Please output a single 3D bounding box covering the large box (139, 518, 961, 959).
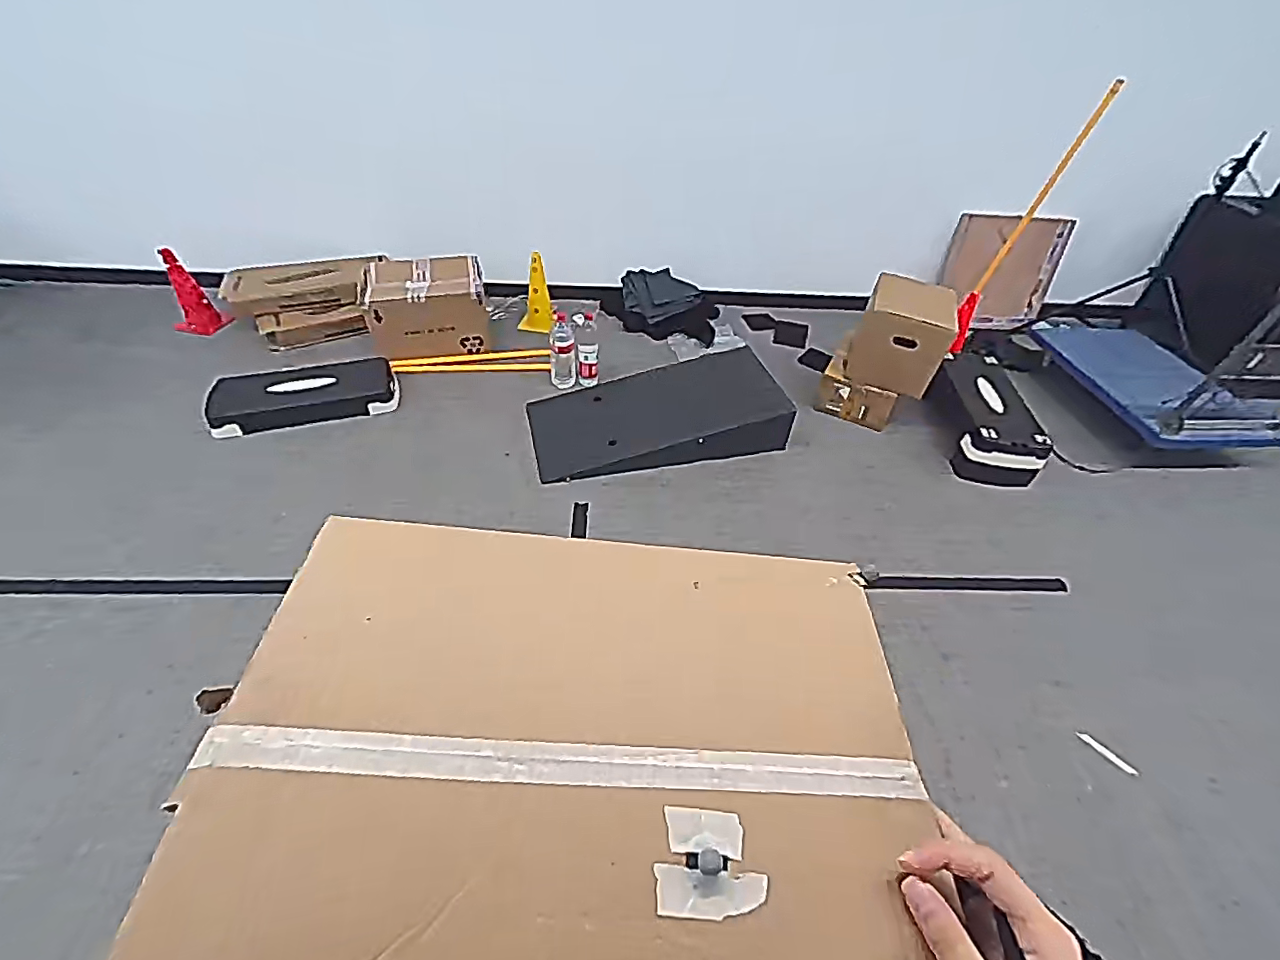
[{"bbox_3d":[-0.049,0.259,0.435,0.408,0.320,0.320,7,49,-6],"label":"large box"}]
